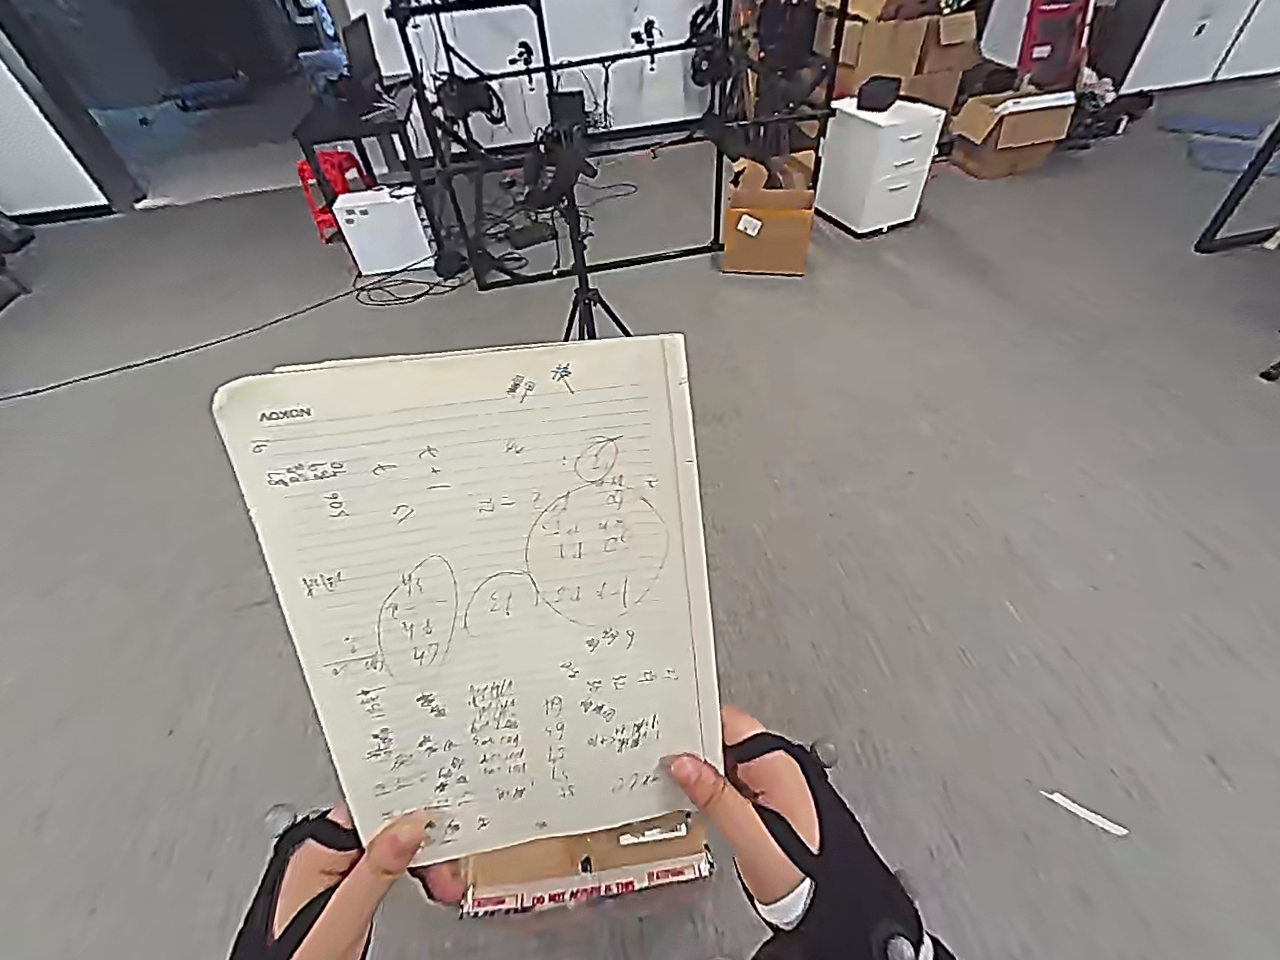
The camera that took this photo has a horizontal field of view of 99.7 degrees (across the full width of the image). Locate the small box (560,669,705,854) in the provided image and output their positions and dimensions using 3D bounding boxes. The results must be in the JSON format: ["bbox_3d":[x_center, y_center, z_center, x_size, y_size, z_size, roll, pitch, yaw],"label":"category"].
[{"bbox_3d":[-0.014,0.373,0.715,0.168,0.176,0.179,-5,49,-3],"label":"small box"}]

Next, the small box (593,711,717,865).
[{"bbox_3d":[0.010,0.478,0.841,0.179,0.176,0.168,-8,48,-5],"label":"small box"}]
